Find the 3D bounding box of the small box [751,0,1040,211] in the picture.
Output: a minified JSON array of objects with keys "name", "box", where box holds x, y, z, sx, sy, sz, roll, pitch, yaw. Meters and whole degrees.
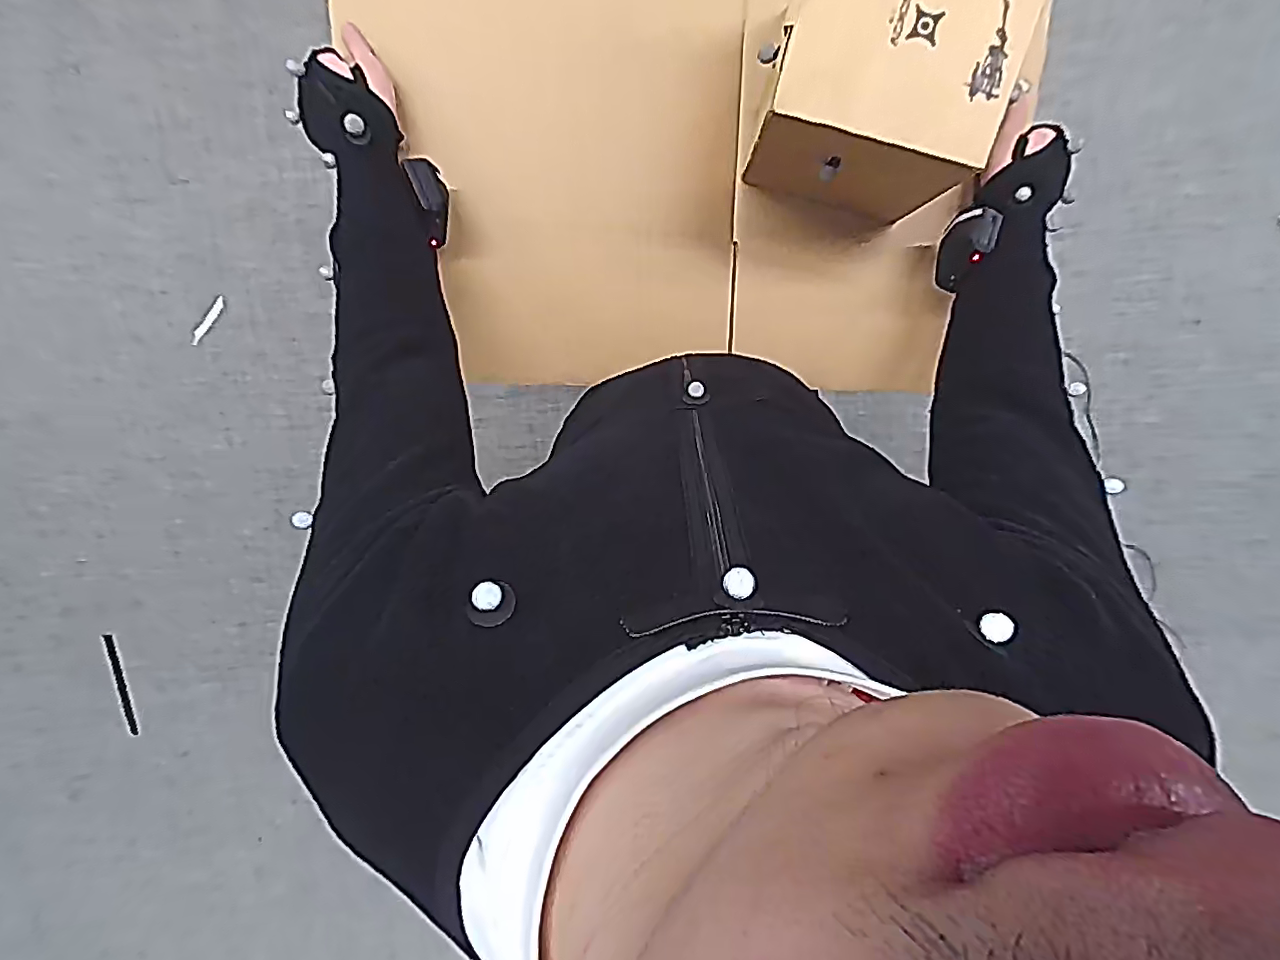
[{"name":"small box","box":[0.210,-0.364,0.485,0.179,0.176,0.168,15,103,0]}]
